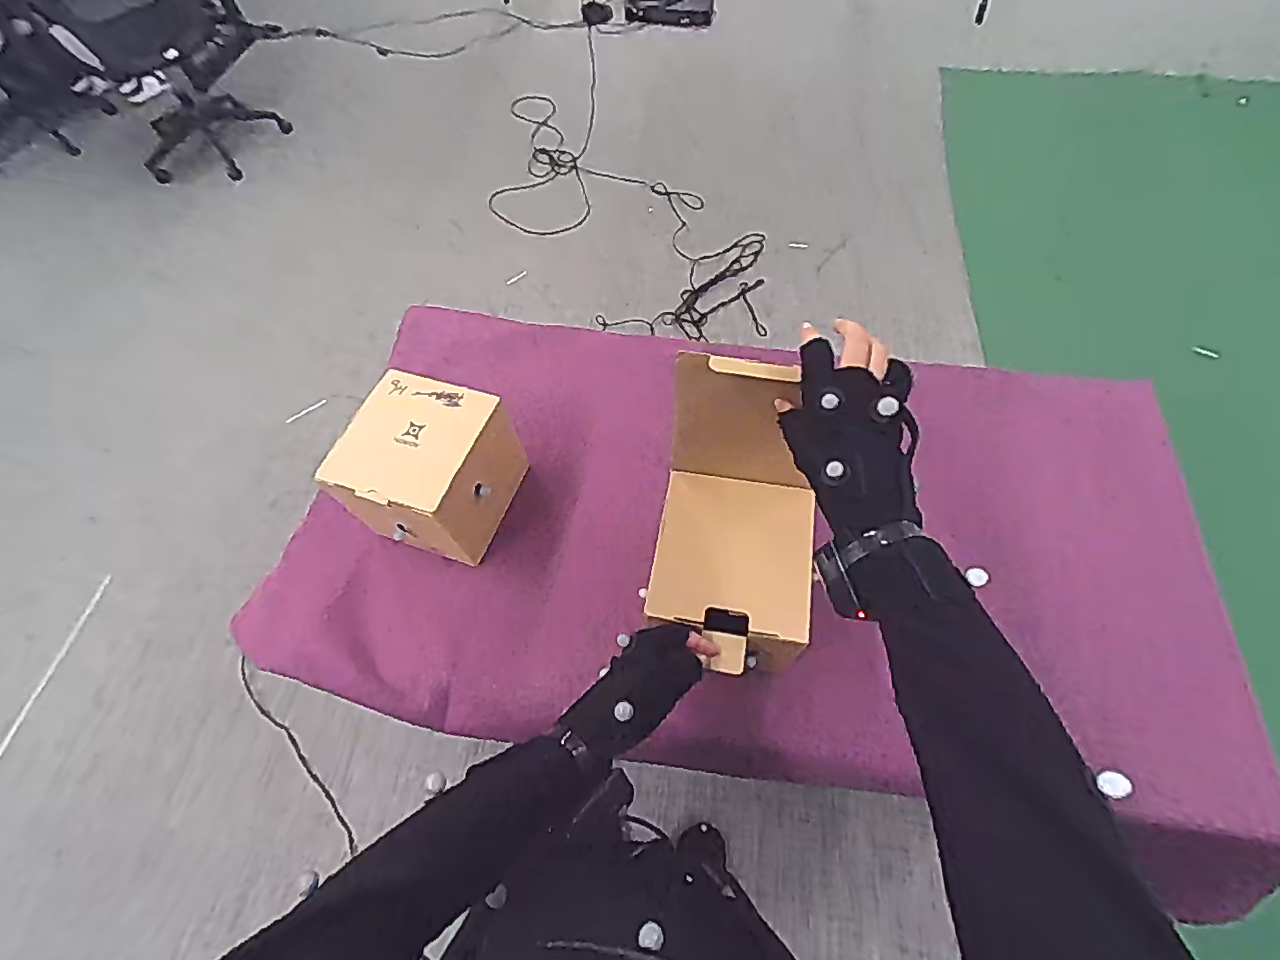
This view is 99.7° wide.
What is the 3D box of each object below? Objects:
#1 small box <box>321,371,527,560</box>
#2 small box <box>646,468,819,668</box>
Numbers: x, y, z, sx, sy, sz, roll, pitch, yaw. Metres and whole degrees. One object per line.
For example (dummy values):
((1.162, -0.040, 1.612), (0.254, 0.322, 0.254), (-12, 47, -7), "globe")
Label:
((-0.270, -0.013, 0.727), (0.168, 0.176, 0.179), (16, 63, 11), "small box")
((0.106, 0.110, 0.639), (0.168, 0.176, 0.179), (8, 61, 7), "small box")
